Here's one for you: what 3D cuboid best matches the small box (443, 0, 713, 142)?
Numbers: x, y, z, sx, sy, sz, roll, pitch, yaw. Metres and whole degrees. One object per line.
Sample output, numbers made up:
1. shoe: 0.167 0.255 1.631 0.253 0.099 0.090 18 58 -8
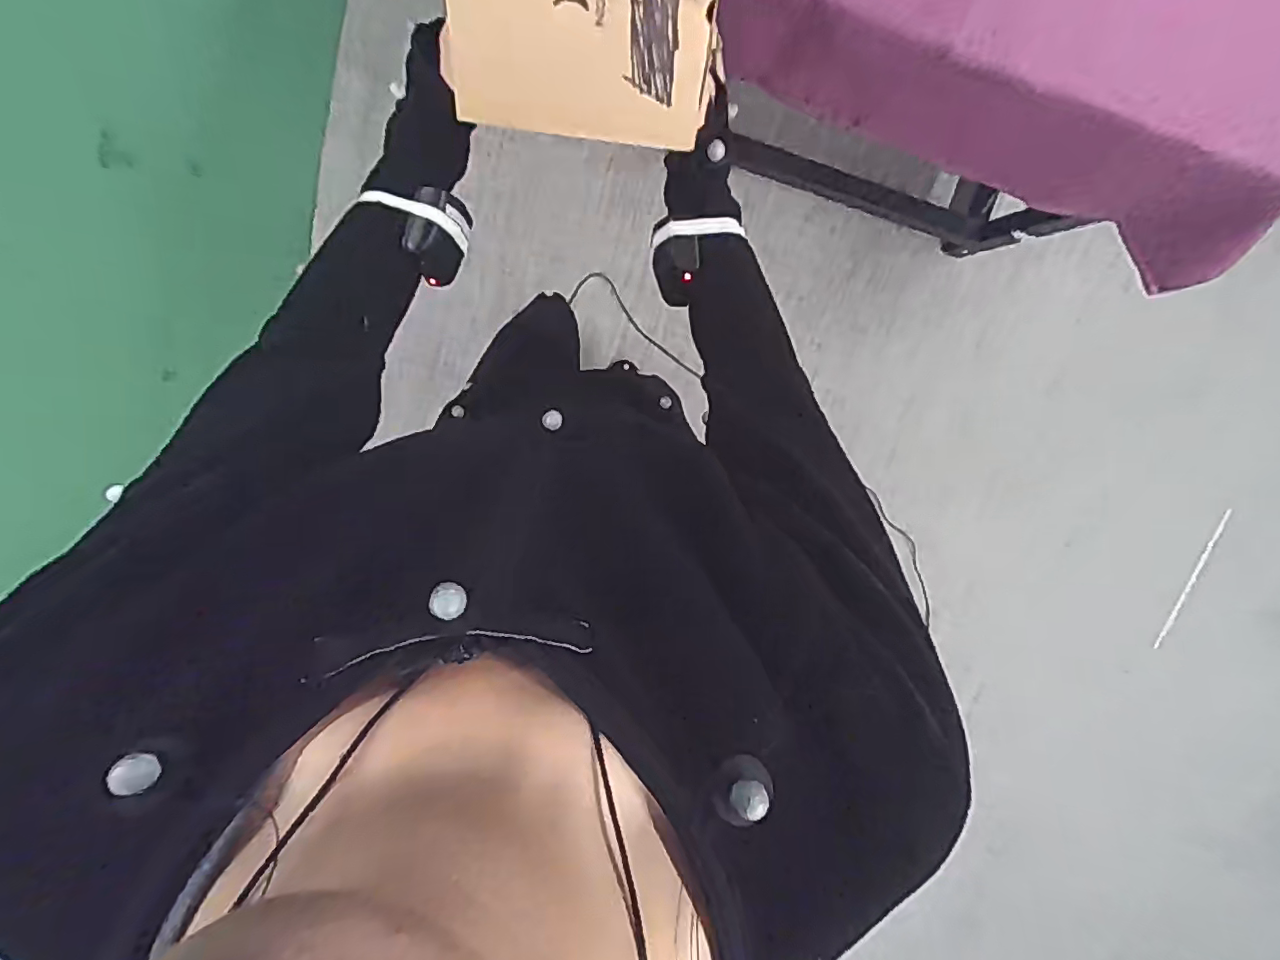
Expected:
1. small box: -0.043 -0.376 0.395 0.179 0.176 0.168 3 138 -8
